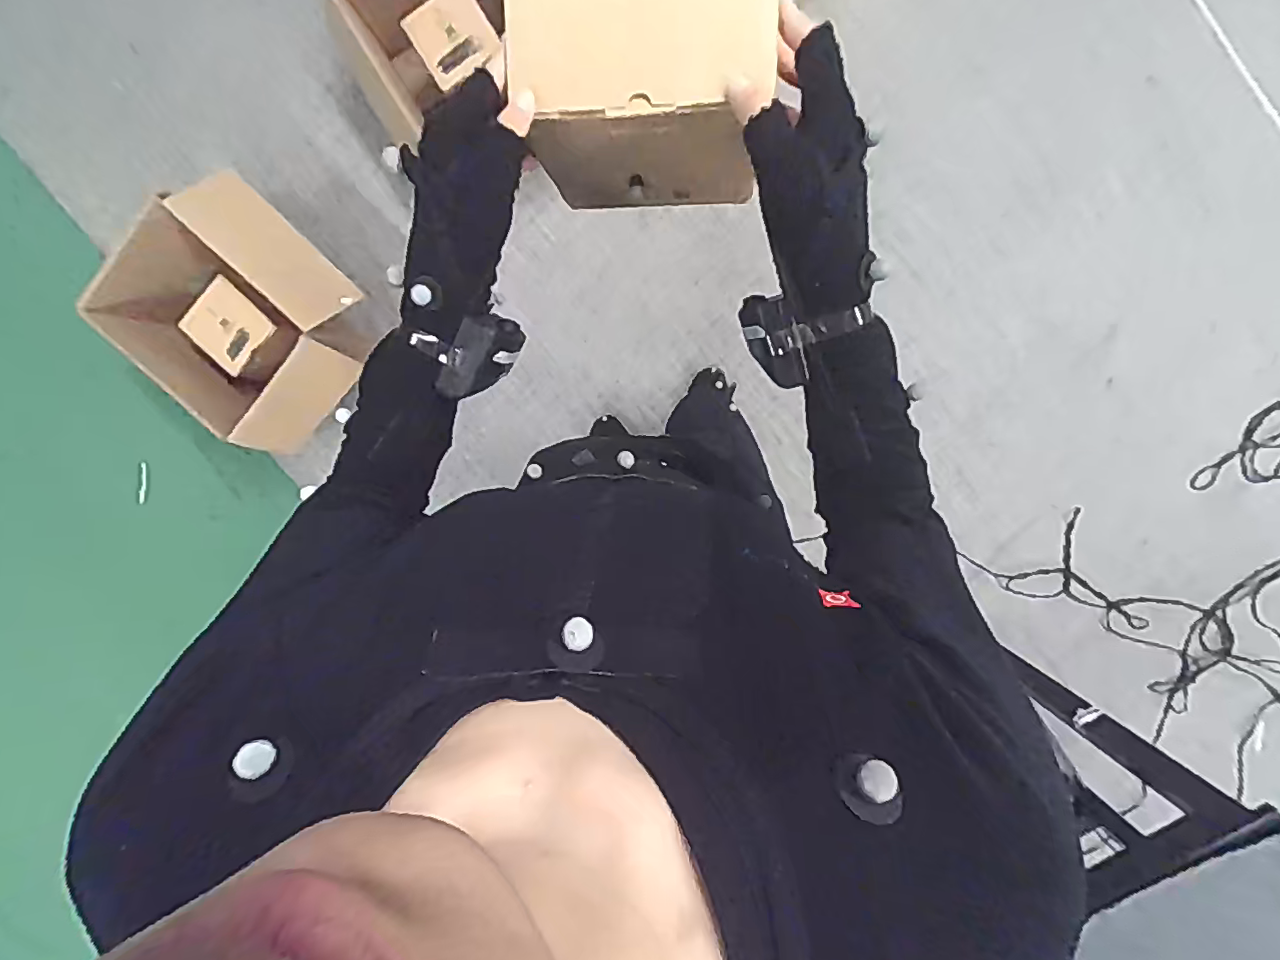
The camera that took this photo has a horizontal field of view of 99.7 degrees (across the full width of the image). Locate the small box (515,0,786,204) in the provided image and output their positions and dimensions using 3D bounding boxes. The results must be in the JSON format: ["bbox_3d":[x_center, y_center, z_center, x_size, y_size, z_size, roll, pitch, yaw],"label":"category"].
[{"bbox_3d":[0.013,-0.326,0.398,0.168,0.176,0.179,1,100,7],"label":"small box"}]
